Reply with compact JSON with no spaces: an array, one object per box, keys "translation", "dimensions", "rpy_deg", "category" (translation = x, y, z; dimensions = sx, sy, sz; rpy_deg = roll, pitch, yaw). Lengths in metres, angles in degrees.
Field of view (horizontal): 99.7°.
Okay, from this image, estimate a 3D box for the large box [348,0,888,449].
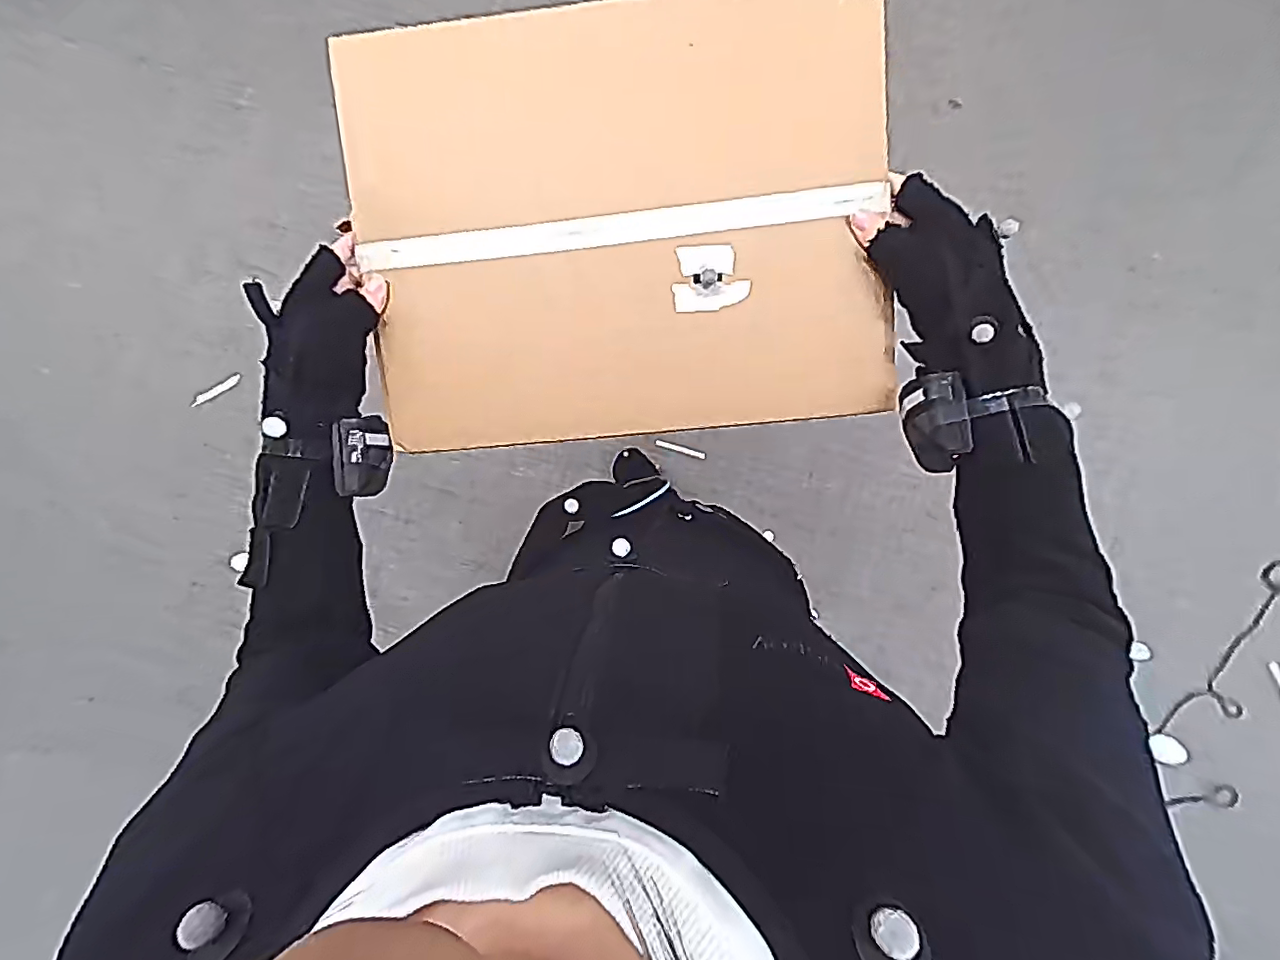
[{"translation":[-0.009,-0.219,0.572],"dimensions":[0.408,0.320,0.320],"rpy_deg":[-6,99,3],"category":"large box"}]
